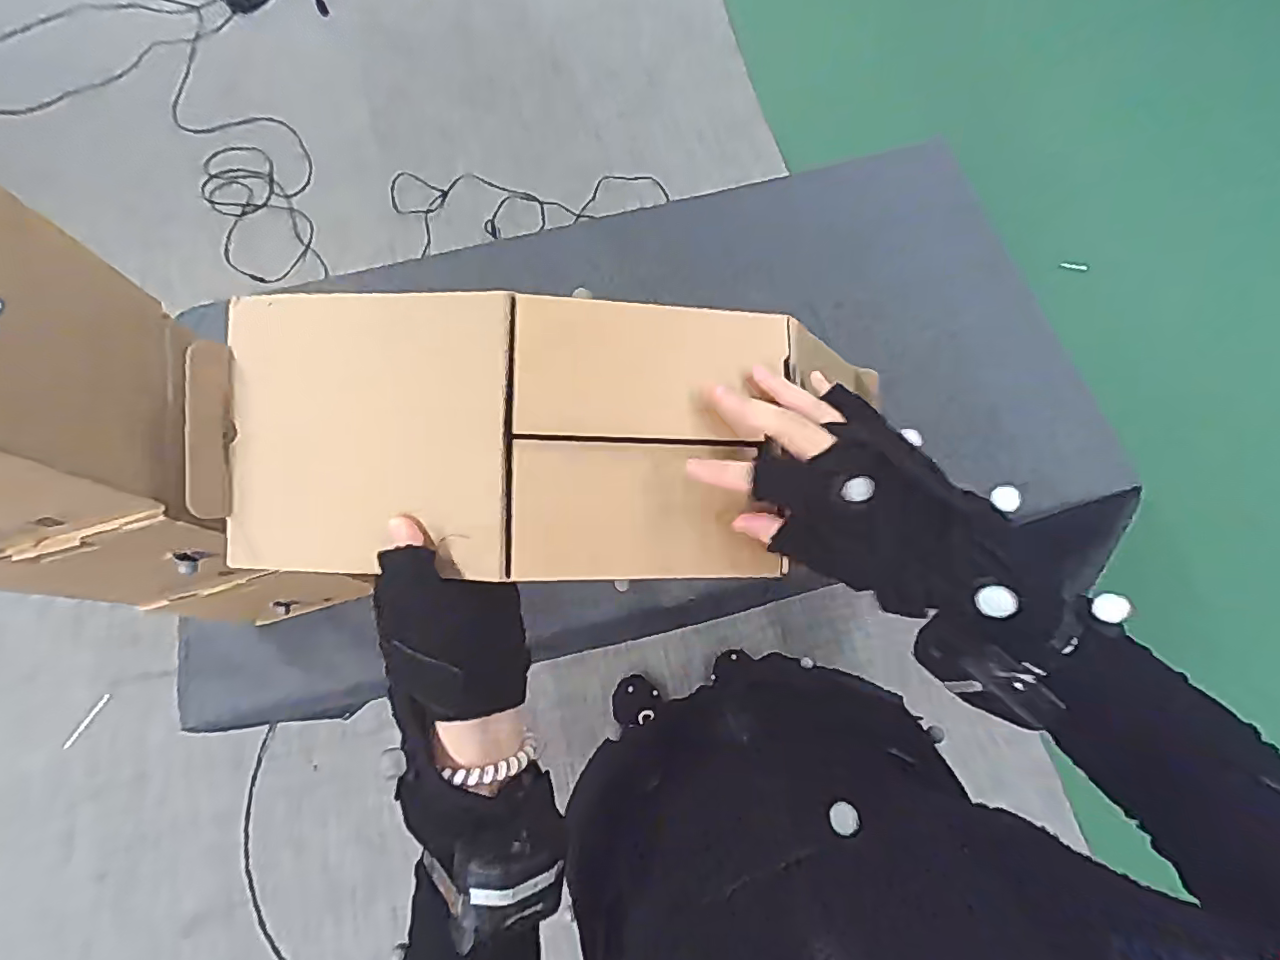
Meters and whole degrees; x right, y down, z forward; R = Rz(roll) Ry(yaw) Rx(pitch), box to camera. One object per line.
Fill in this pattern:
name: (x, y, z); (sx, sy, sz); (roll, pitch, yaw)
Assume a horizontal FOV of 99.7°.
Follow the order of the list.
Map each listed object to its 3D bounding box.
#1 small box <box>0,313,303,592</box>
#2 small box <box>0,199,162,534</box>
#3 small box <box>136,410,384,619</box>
small box: (-0.422, -0.008, 0.468); (0.168, 0.176, 0.179); (-15, 71, -4)
small box: (-0.428, -0.067, 0.316); (0.168, 0.176, 0.179); (-16, 71, -5)
small box: (-0.419, 0.048, 0.621); (0.168, 0.176, 0.179); (-16, 72, -4)
